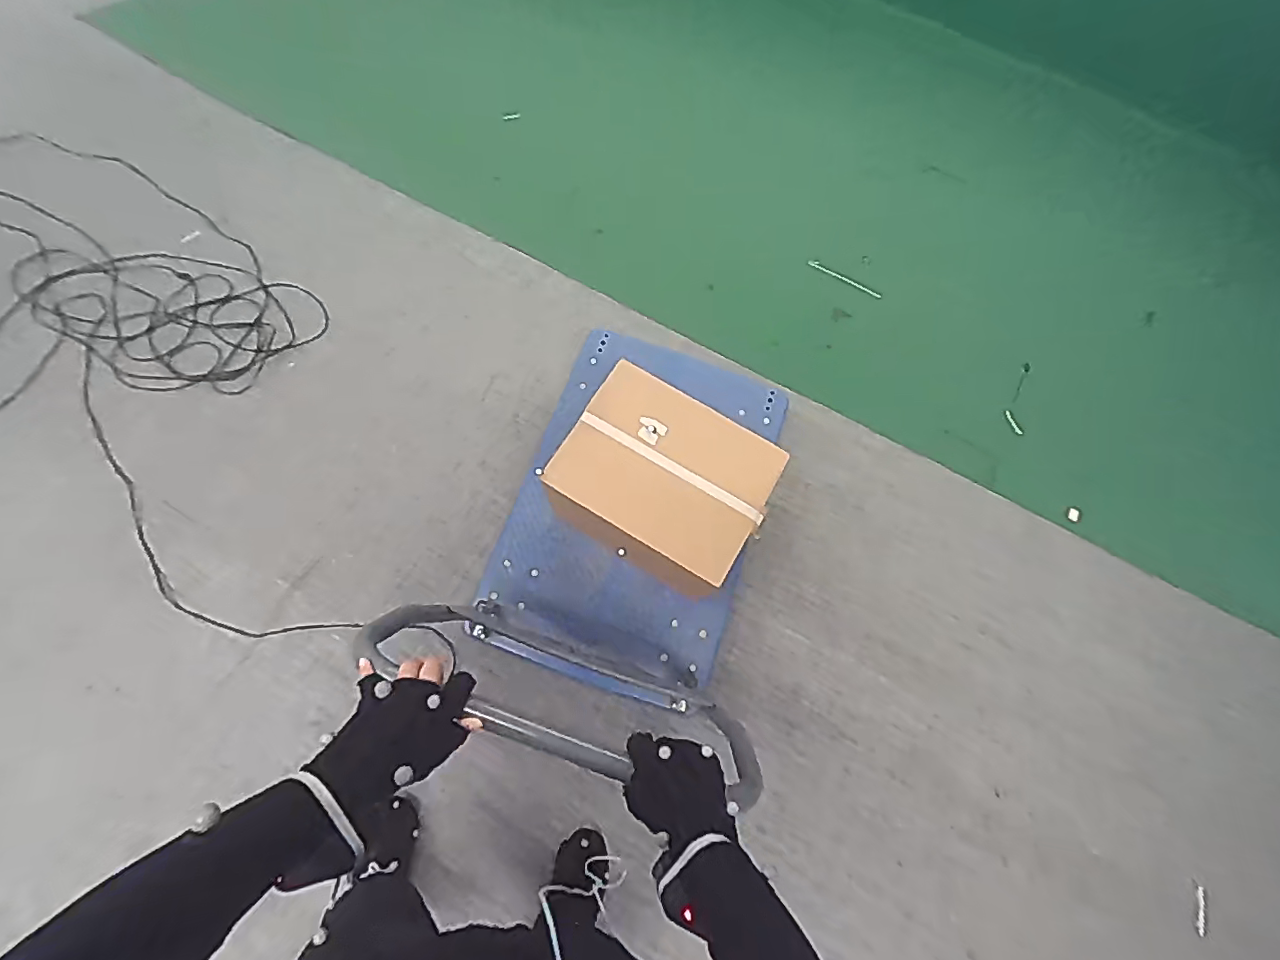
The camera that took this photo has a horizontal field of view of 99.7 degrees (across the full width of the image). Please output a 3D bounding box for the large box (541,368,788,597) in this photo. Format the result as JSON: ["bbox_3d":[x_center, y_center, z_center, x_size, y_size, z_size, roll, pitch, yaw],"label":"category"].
[{"bbox_3d":[0.049,0.026,1.207,0.408,0.320,0.320,30,74,6],"label":"large box"}]
